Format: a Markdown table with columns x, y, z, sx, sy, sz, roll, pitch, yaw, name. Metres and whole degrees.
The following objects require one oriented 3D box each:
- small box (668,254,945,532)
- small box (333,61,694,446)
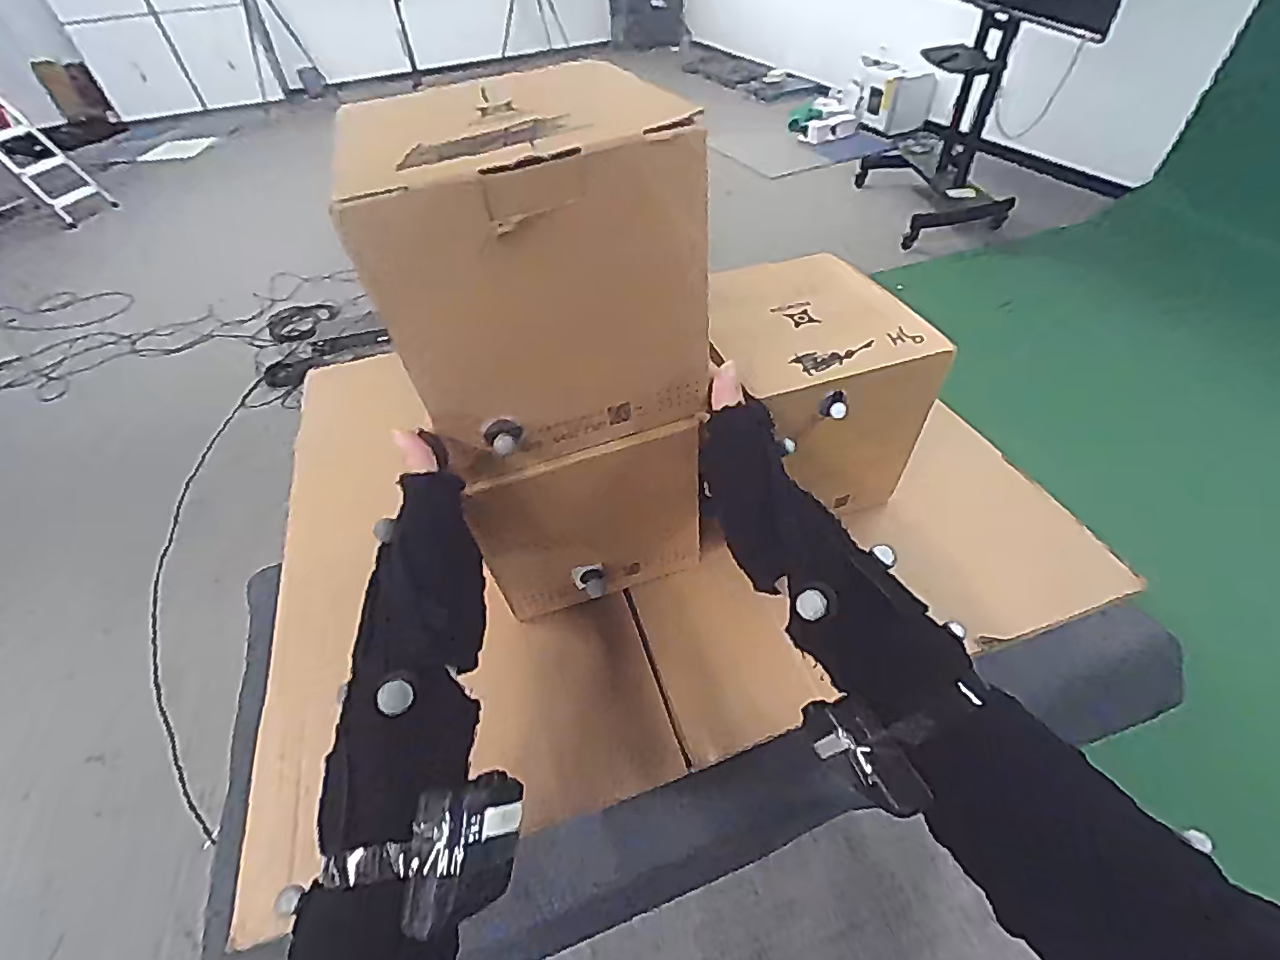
| x | y | z | sx | sy | sz | roll | pitch | yaw | name |
| --- | --- | --- | --- | --- | --- | --- | --- | --- | --- |
| 0.126 | -0.082 | 0.498 | 0.168 | 0.176 | 0.179 | -15 | 47 | -11 | small box |
| -0.070 | -0.141 | 0.351 | 0.168 | 0.176 | 0.179 | -18 | 47 | -9 | small box |
